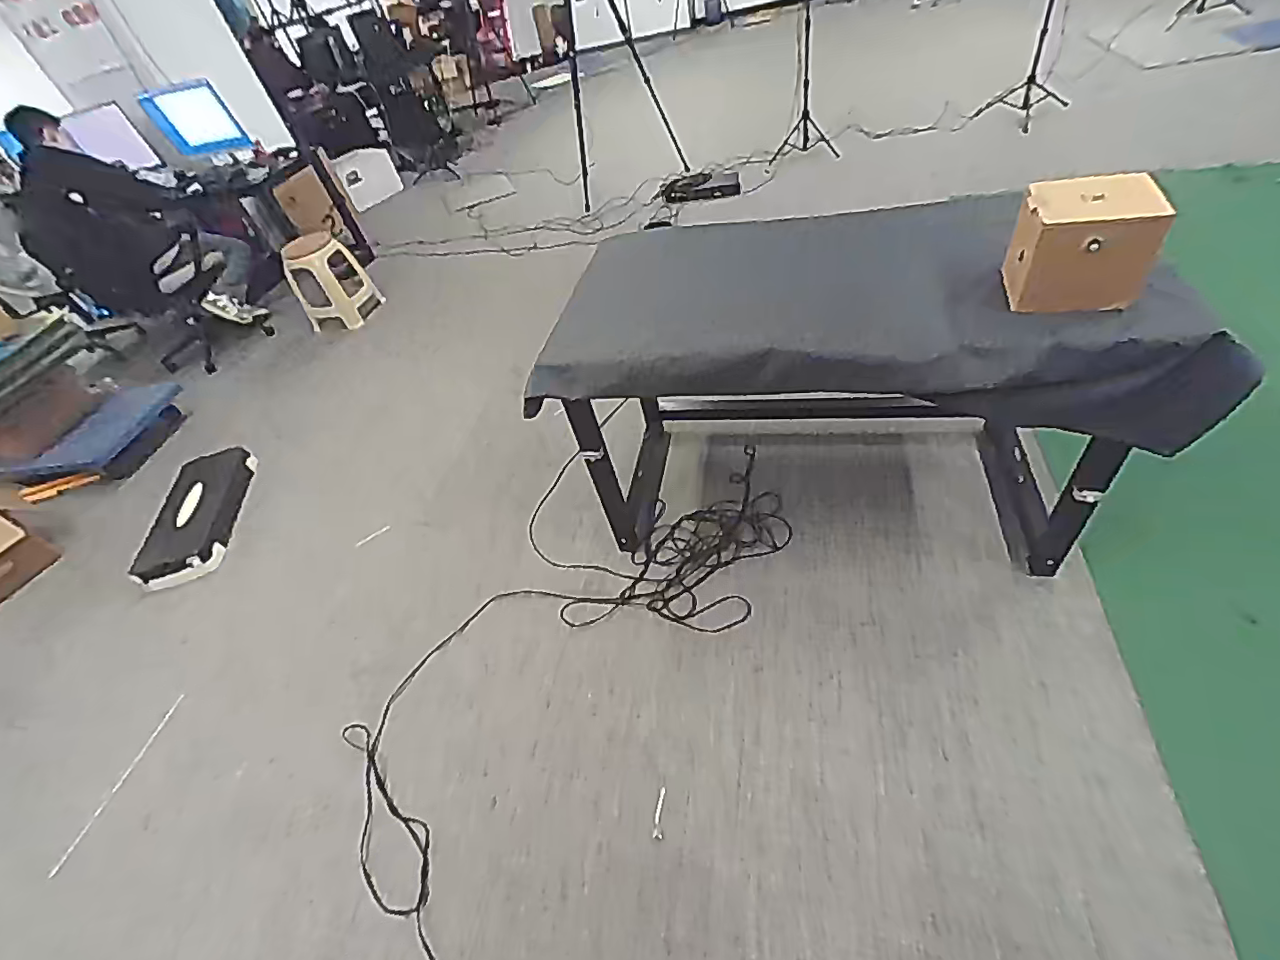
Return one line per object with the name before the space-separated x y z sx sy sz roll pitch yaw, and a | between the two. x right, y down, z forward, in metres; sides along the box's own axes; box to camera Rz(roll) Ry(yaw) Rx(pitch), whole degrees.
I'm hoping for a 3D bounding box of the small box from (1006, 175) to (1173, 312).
small box | 0.768 -0.410 0.952 0.179 0.176 0.168 6 50 20
